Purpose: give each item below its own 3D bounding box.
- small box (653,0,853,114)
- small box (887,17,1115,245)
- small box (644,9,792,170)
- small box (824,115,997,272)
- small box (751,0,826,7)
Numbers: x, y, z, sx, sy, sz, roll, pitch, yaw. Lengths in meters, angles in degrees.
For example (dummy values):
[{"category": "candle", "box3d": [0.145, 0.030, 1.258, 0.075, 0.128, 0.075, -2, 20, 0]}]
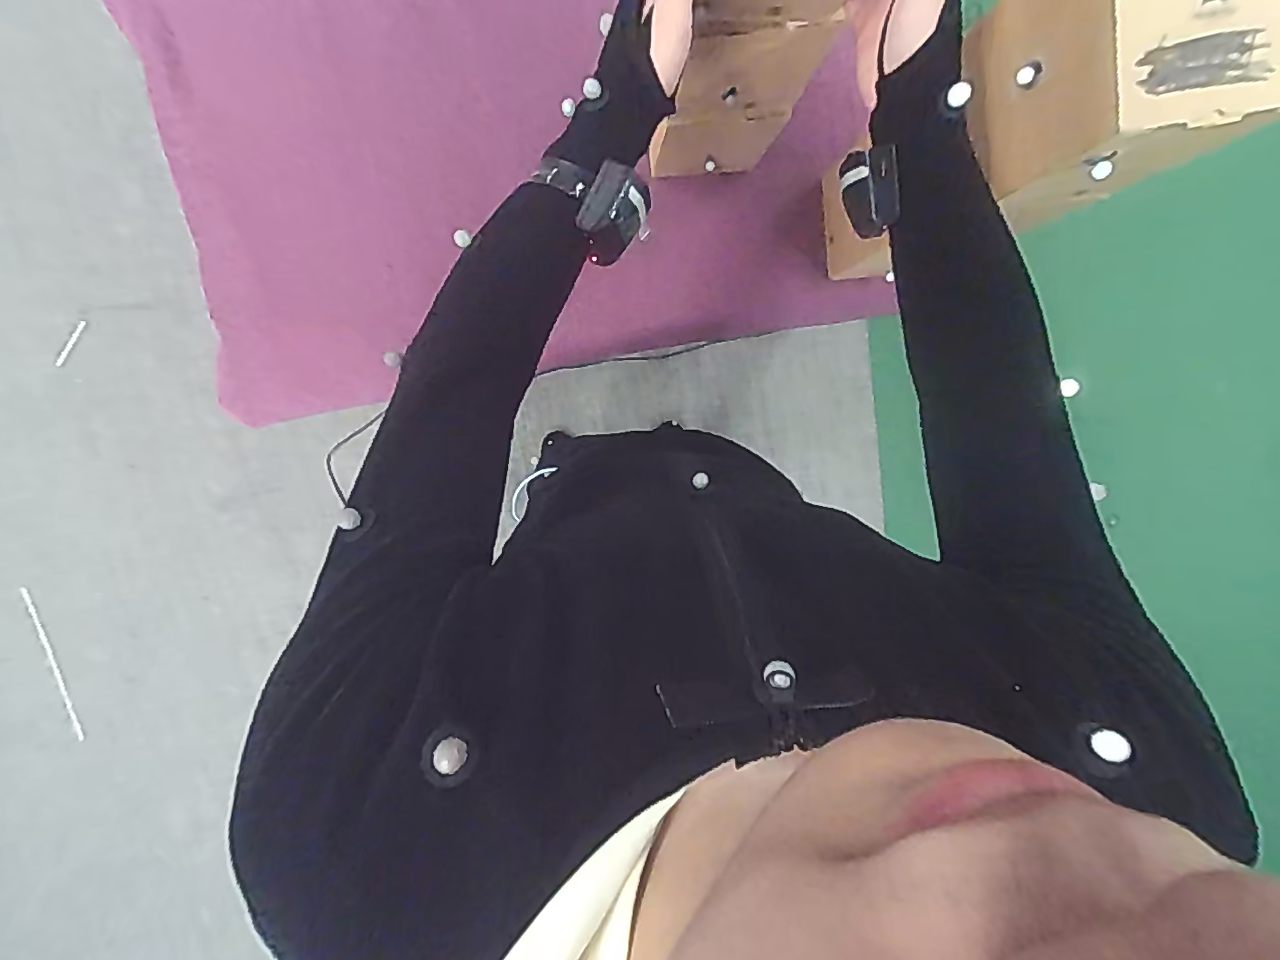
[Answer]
[{"category": "small box", "box3d": [0.111, -0.547, 0.598, 0.168, 0.176, 0.179, -10, 100, -5]}, {"category": "small box", "box3d": [0.417, -0.403, 0.652, 0.168, 0.176, 0.179, -7, 99, -4]}, {"category": "small box", "box3d": [0.101, -0.567, 0.759, 0.168, 0.176, 0.179, -7, 99, -5]}, {"category": "small box", "box3d": [0.399, -0.421, 0.813, 0.179, 0.176, 0.168, -7, 98, -5]}, {"category": "small box", "box3d": [0.103, -0.491, 0.396, 0.168, 0.176, 0.179, -5, 107, -7]}]
